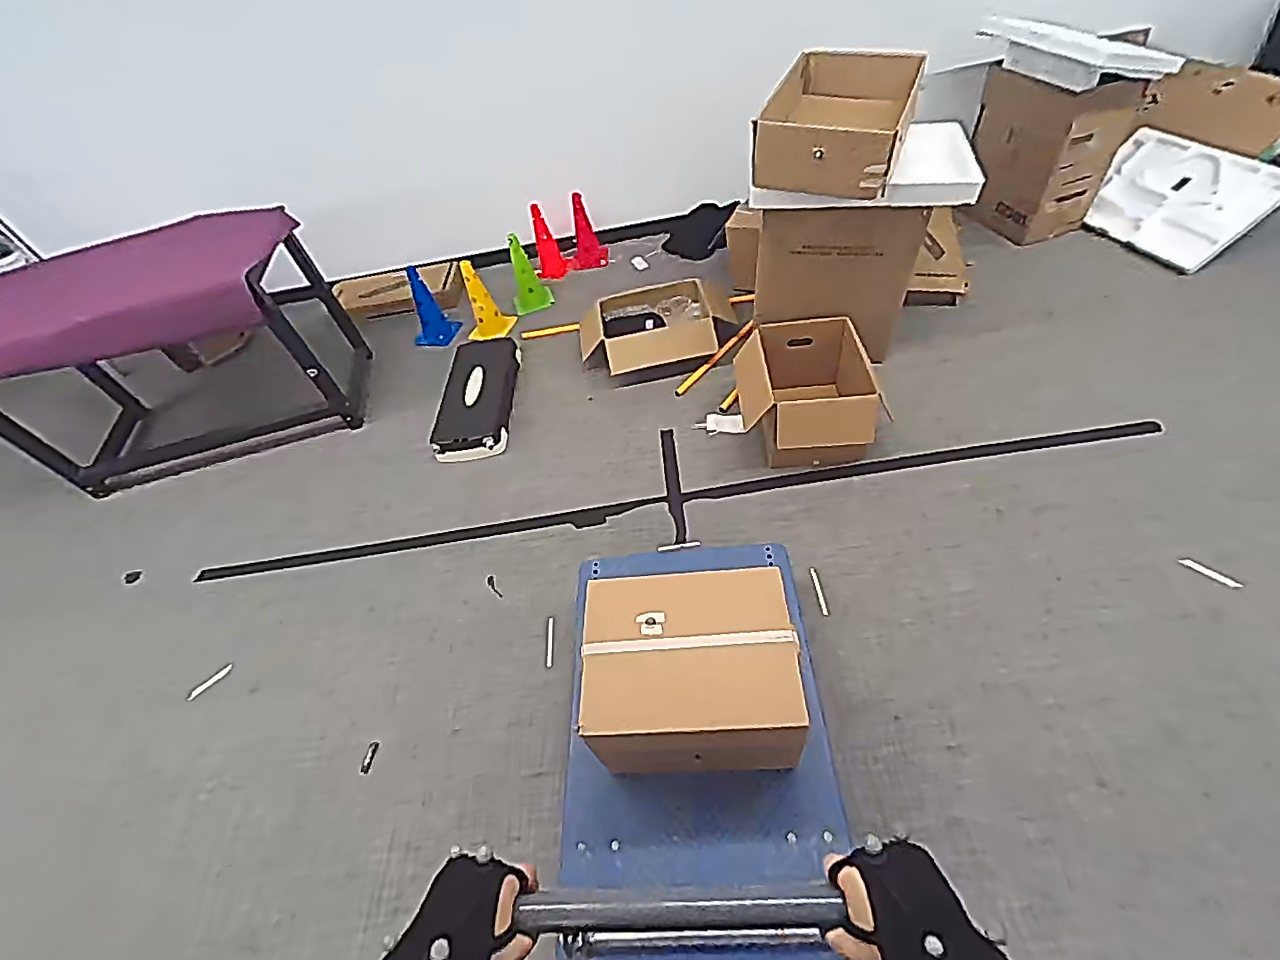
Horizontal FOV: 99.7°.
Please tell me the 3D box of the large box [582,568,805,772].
[{"bbox_3d":[0.112,0.417,1.161,0.408,0.320,0.320,-7,49,7],"label":"large box"}]
